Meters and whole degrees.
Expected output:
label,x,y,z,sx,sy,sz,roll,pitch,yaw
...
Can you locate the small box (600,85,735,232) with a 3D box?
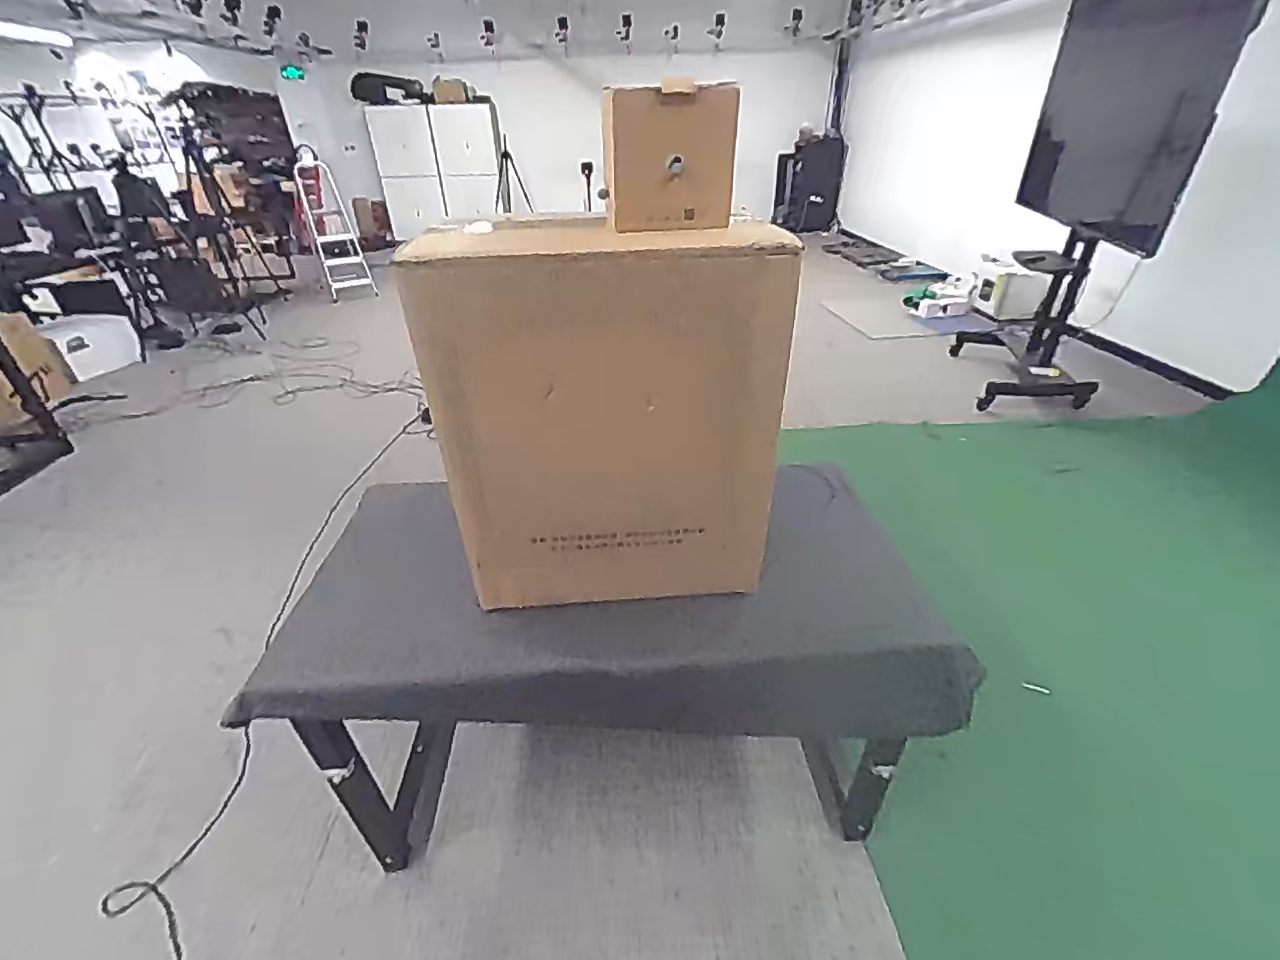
label,x,y,z,sx,sy,sz,roll,pitch,yaw
small box,0.034,-0.465,0.786,0.168,0.176,0.179,-5,36,-6
